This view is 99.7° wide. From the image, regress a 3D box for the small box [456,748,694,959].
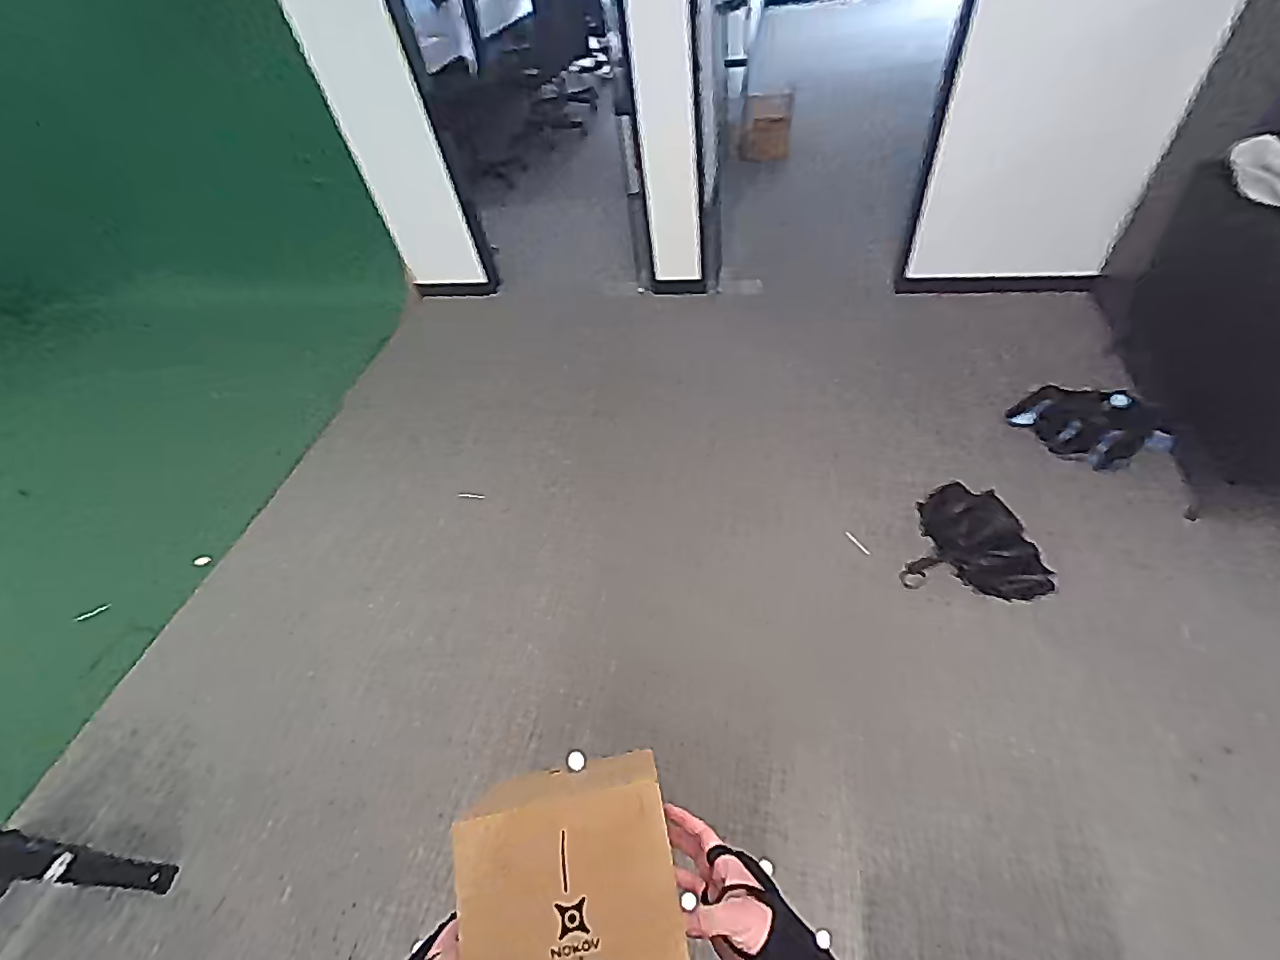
[{"bbox_3d":[-0.049,0.354,0.473,0.168,0.176,0.179,-10,70,-6],"label":"small box"}]
